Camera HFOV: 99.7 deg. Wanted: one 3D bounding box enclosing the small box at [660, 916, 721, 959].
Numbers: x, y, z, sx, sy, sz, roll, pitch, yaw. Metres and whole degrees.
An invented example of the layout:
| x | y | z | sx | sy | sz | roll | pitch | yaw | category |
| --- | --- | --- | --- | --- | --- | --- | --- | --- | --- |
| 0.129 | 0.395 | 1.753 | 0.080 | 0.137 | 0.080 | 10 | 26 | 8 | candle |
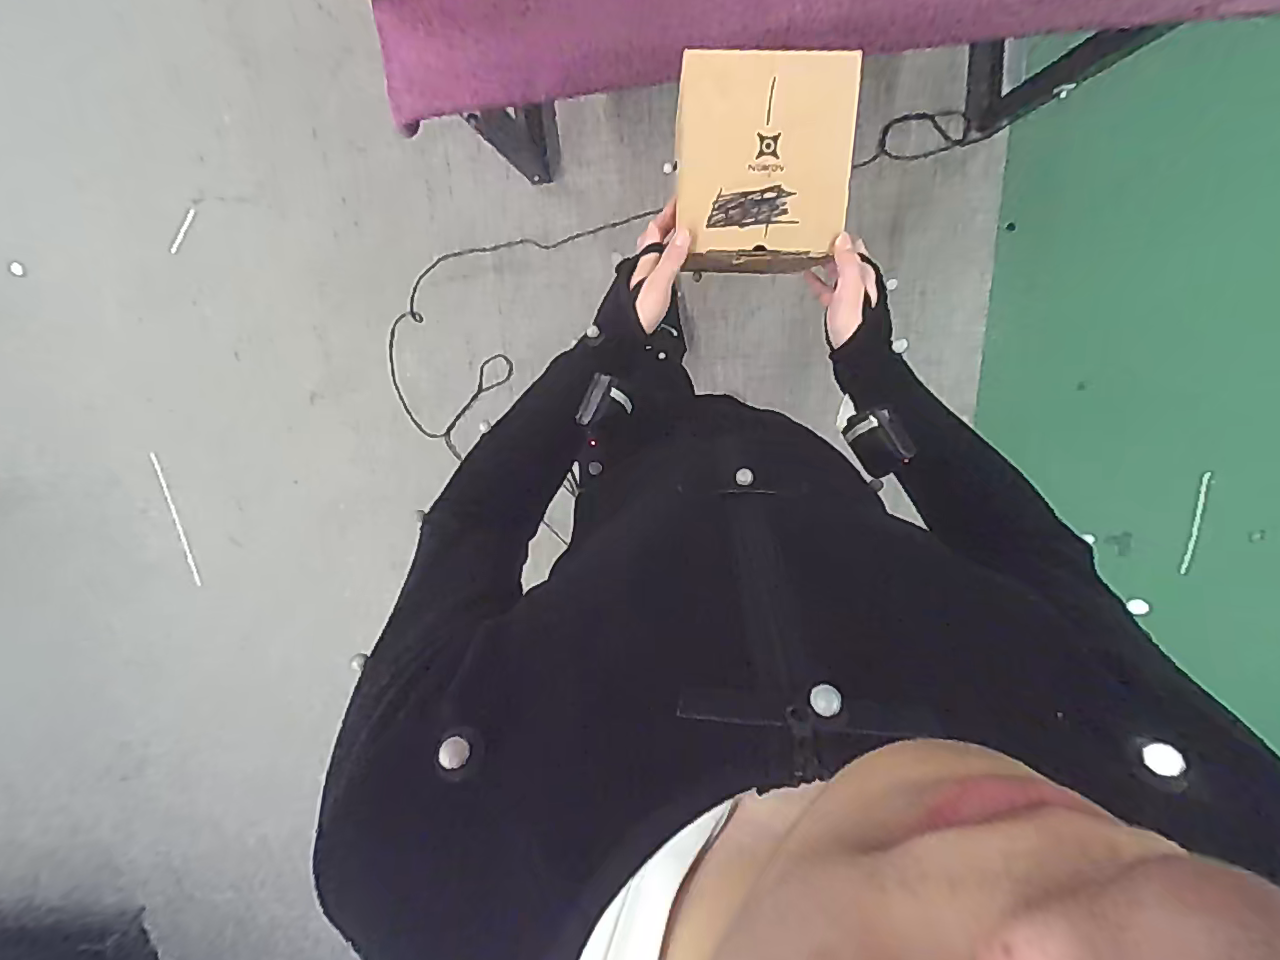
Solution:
| x | y | z | sx | sy | sz | roll | pitch | yaw | category |
| --- | --- | --- | --- | --- | --- | --- | --- | --- | --- |
| 0.146 | 1.376 | 1.523 | 0.168 | 0.176 | 0.179 | -6 | 107 | 4 | small box |

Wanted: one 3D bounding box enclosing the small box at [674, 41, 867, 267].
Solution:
| x | y | z | sx | sy | sz | roll | pitch | yaw | category |
| --- | --- | --- | --- | --- | --- | --- | --- | --- | --- |
| 0.125 | -0.333 | 0.588 | 0.168 | 0.176 | 0.179 | 1 | 104 | 1 | small box |
